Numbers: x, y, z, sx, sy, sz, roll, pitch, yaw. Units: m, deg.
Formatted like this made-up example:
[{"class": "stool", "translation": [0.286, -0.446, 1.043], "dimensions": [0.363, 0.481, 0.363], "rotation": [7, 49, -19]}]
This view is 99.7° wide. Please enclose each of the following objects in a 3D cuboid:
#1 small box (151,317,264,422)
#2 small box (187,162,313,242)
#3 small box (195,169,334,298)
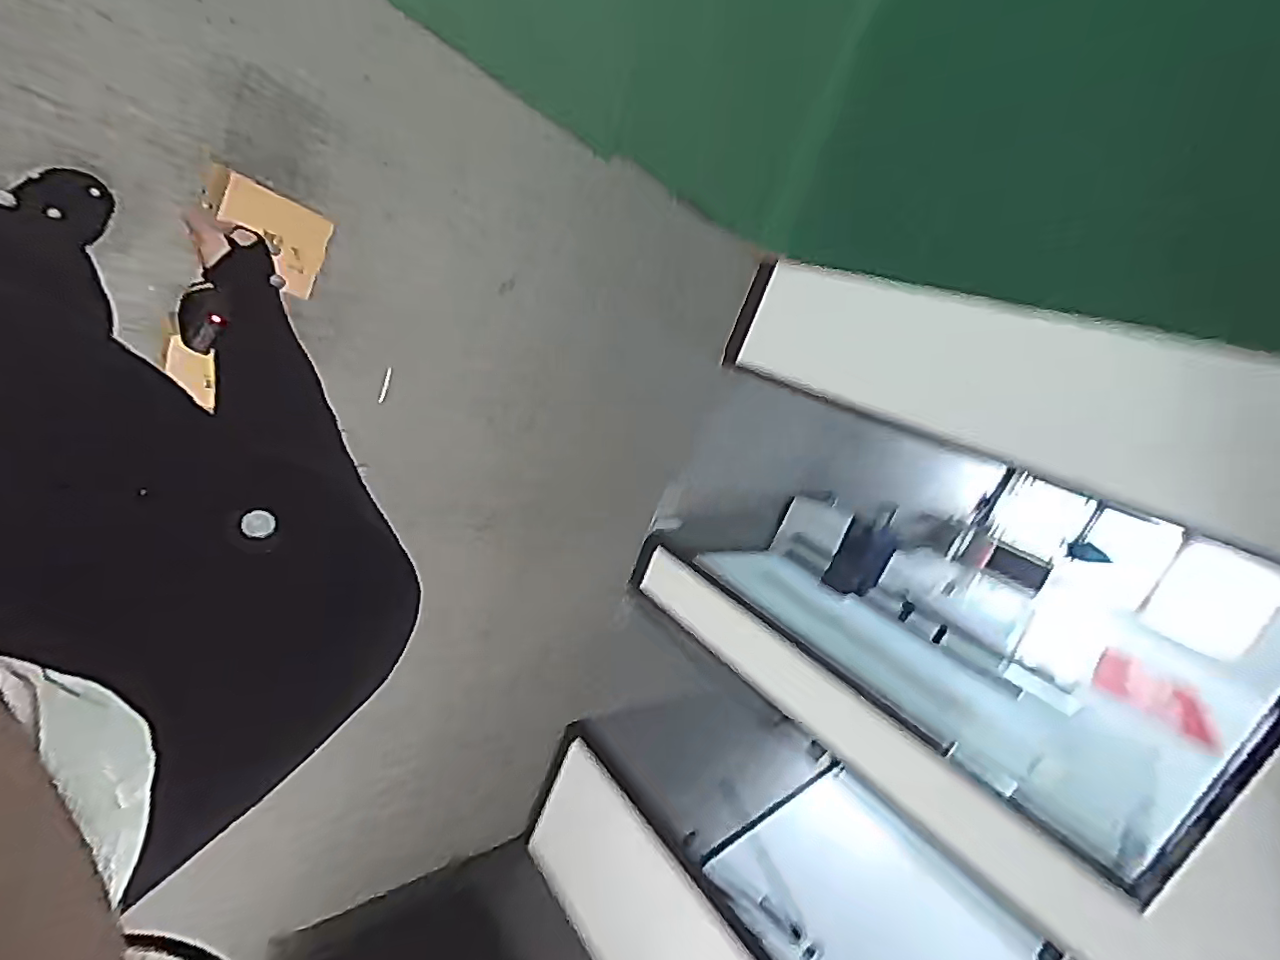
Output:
[{"class": "small box", "translation": [-0.994, -0.255, 1.237], "dimensions": [0.168, 0.176, 0.179], "rotation": [10, 107, -47]}, {"class": "small box", "translation": [-0.853, -0.563, 1.178], "dimensions": [0.179, 0.176, 0.168], "rotation": [15, 104, -49]}, {"class": "small box", "translation": [-0.749, -0.489, 1.073], "dimensions": [0.179, 0.176, 0.168], "rotation": [17, 103, -50]}]
